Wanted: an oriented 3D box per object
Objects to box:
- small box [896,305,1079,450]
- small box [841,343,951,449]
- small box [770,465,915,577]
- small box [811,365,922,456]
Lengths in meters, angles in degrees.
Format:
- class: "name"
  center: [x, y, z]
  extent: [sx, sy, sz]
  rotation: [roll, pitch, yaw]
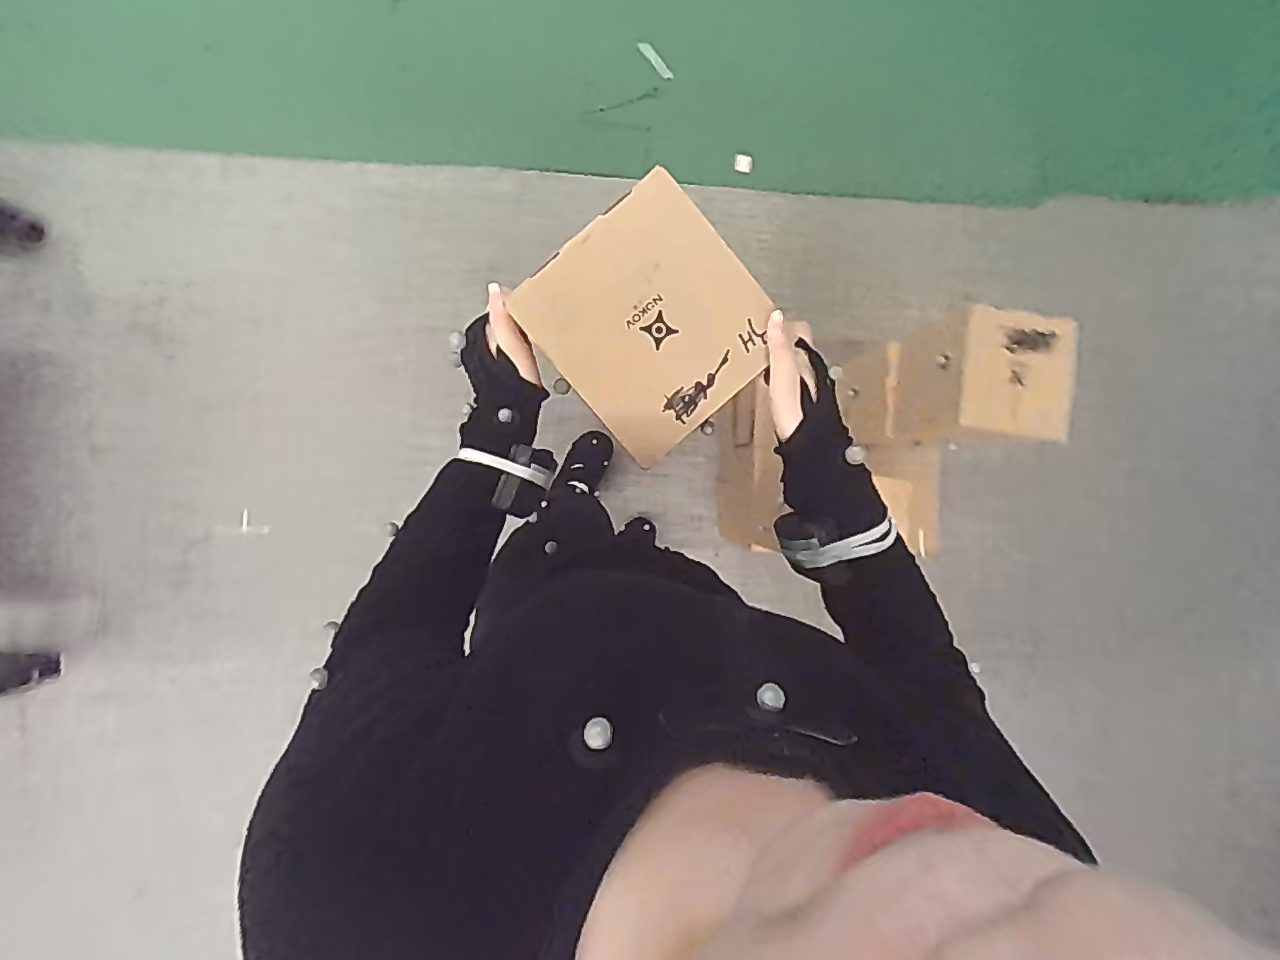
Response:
- class: "small box"
  center: [0.523, -0.147, 0.836]
  extent: [0.168, 0.176, 0.179]
  rotation: [8, 90, -6]
- class: "small box"
  center: [0.497, -0.146, 0.999]
  extent: [0.179, 0.176, 0.168]
  rotation: [3, 89, -5]
- class: "small box"
  center: [0.358, 0.069, 0.982]
  extent: [0.179, 0.176, 0.168]
  rotation: [10, 89, -5]
- class: "small box"
  center: [0.480, -0.141, 1.161]
  extent: [0.168, 0.176, 0.179]
  rotation: [1, 89, -7]
